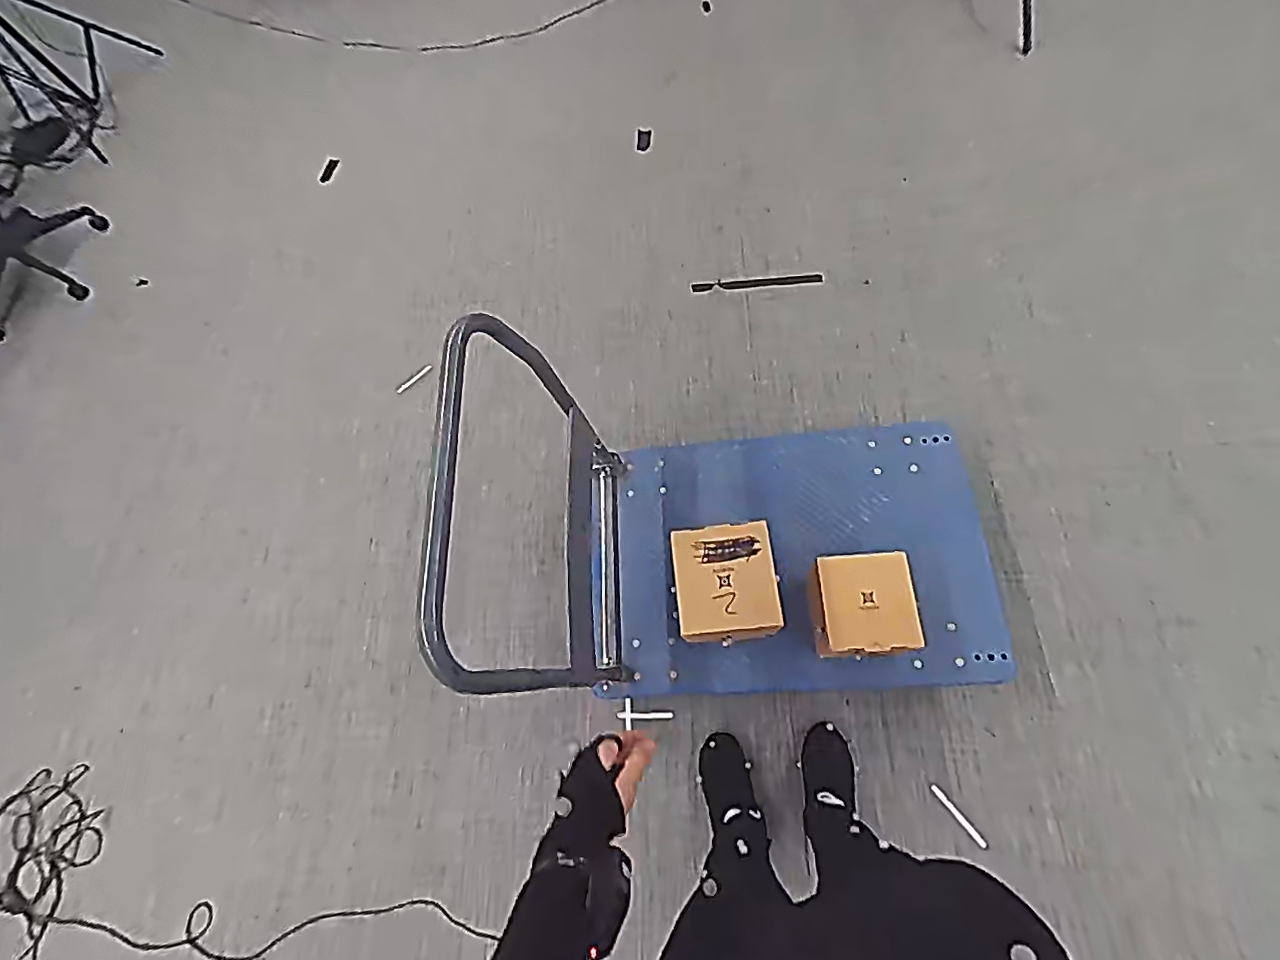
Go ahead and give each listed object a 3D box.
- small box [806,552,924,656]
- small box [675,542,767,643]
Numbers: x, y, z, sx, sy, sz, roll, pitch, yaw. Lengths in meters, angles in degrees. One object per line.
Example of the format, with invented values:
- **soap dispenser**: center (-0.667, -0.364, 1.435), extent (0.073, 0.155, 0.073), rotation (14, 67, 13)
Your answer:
- **small box**: center (0.434, 0.251, 1.072), extent (0.168, 0.176, 0.179), rotation (-5, 69, 8)
- **small box**: center (0.165, 0.238, 1.122), extent (0.168, 0.176, 0.179), rotation (-7, 69, 8)
